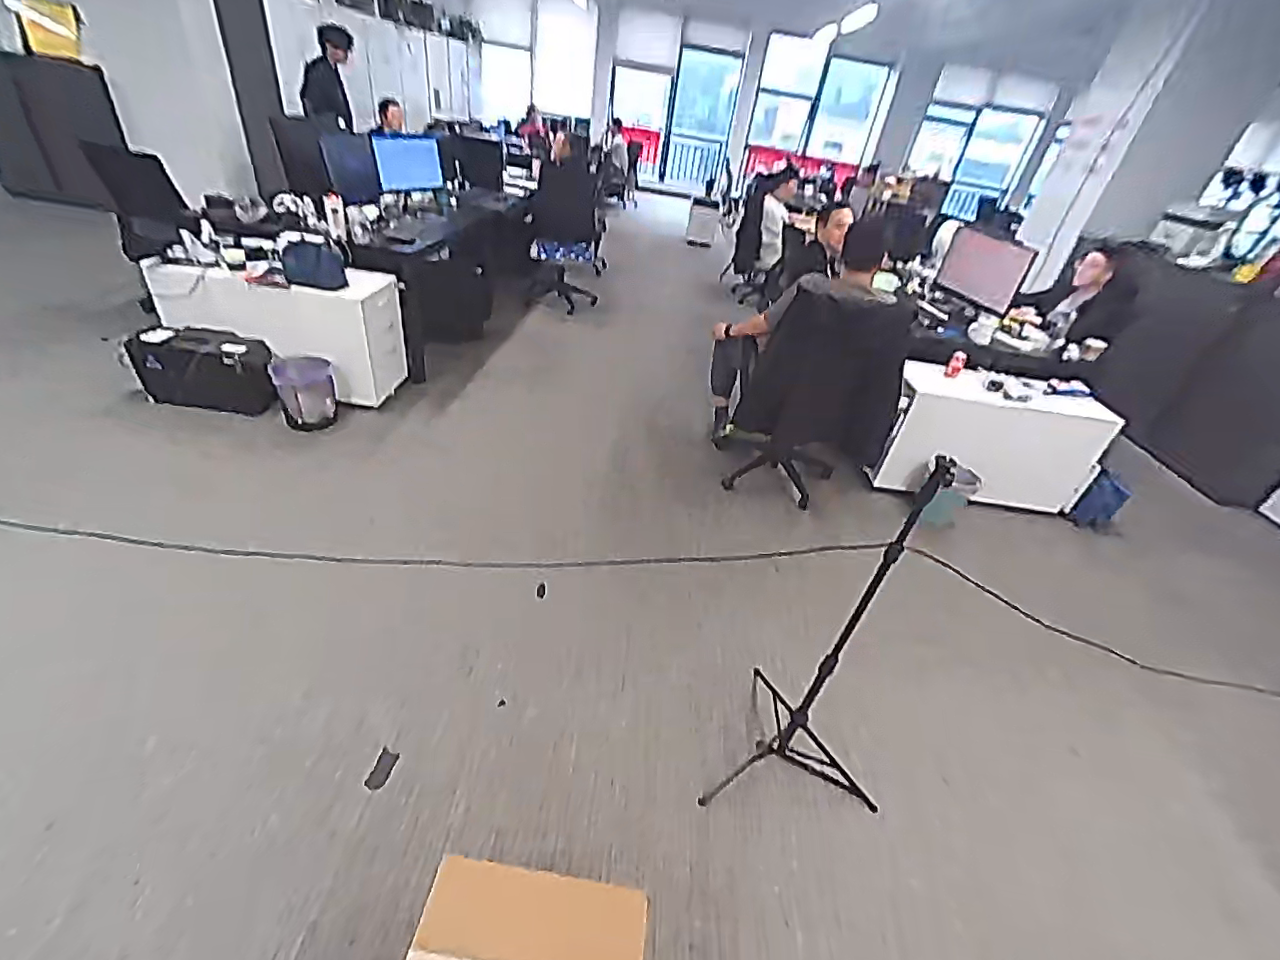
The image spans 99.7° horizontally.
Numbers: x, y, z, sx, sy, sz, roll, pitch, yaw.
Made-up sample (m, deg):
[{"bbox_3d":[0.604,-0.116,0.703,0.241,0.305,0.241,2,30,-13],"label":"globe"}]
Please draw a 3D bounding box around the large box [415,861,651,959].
[{"bbox_3d":[-0.213,0.970,0.996,0.408,0.320,0.320,11,35,0],"label":"large box"}]
